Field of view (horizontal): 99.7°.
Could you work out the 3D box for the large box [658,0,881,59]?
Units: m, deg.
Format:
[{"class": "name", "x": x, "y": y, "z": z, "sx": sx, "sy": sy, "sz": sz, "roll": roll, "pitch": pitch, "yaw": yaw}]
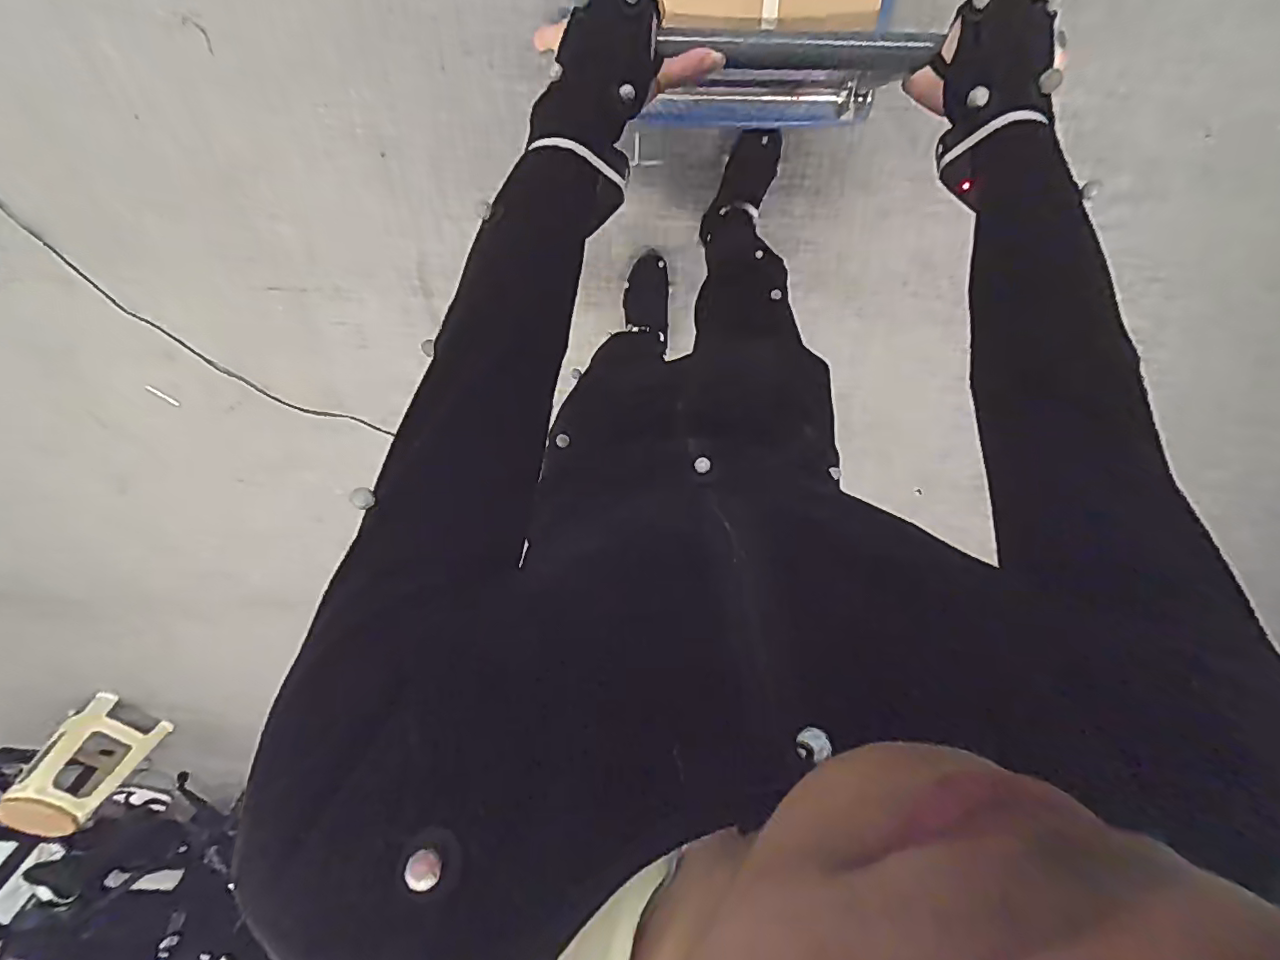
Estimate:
[{"class": "large box", "x": 0.185, "y": -0.886, "z": 0.790, "sx": 0.320, "sy": 0.320, "sz": 0.408, "roll": 1, "pitch": 123, "yaw": 1}]
